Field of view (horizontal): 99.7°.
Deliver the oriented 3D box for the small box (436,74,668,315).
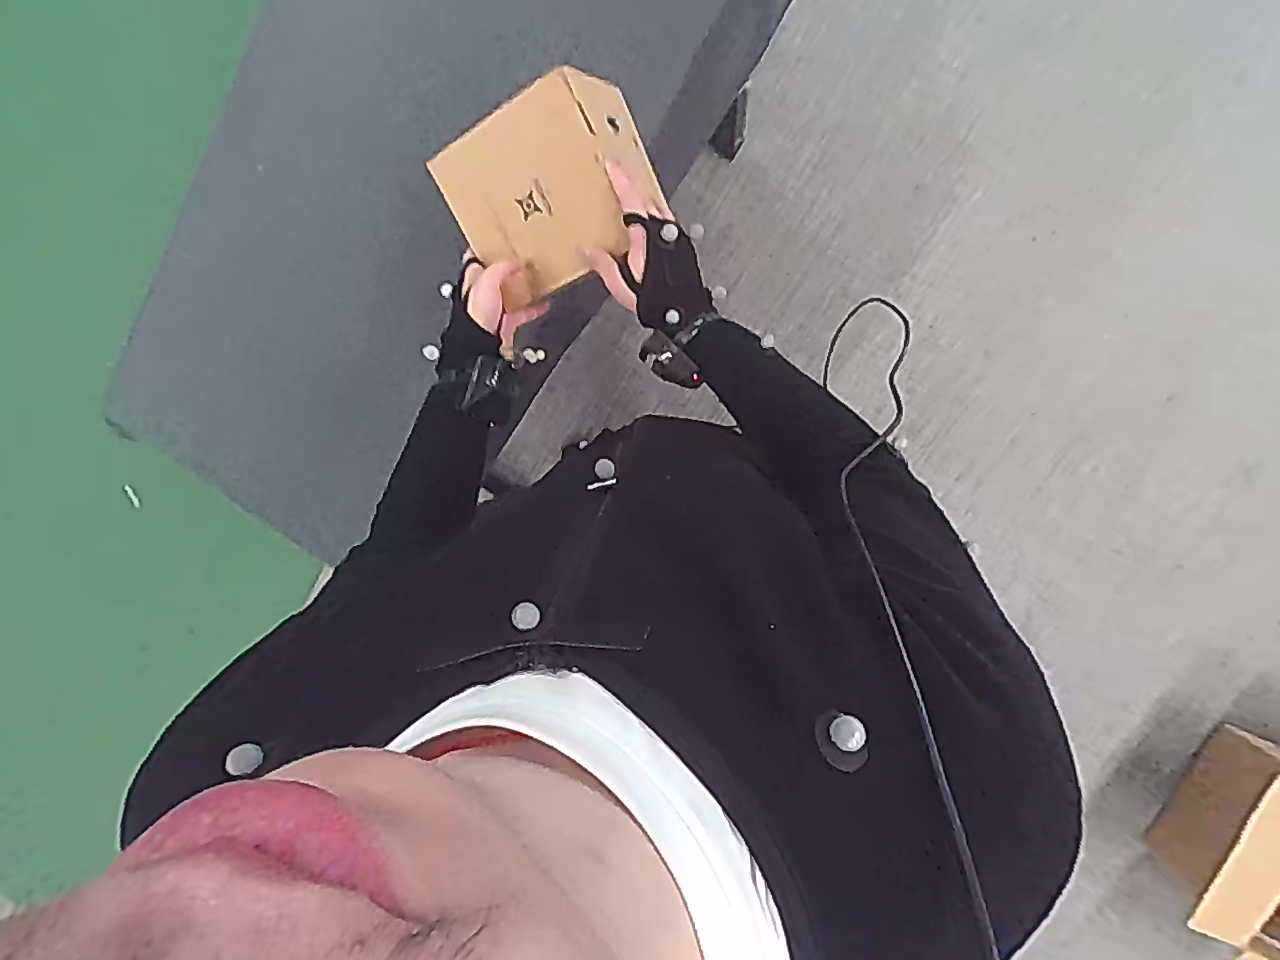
[{"bbox_3d":[-0.080,-0.305,0.604,0.179,0.176,0.168,-15,109,24],"label":"small box"}]
